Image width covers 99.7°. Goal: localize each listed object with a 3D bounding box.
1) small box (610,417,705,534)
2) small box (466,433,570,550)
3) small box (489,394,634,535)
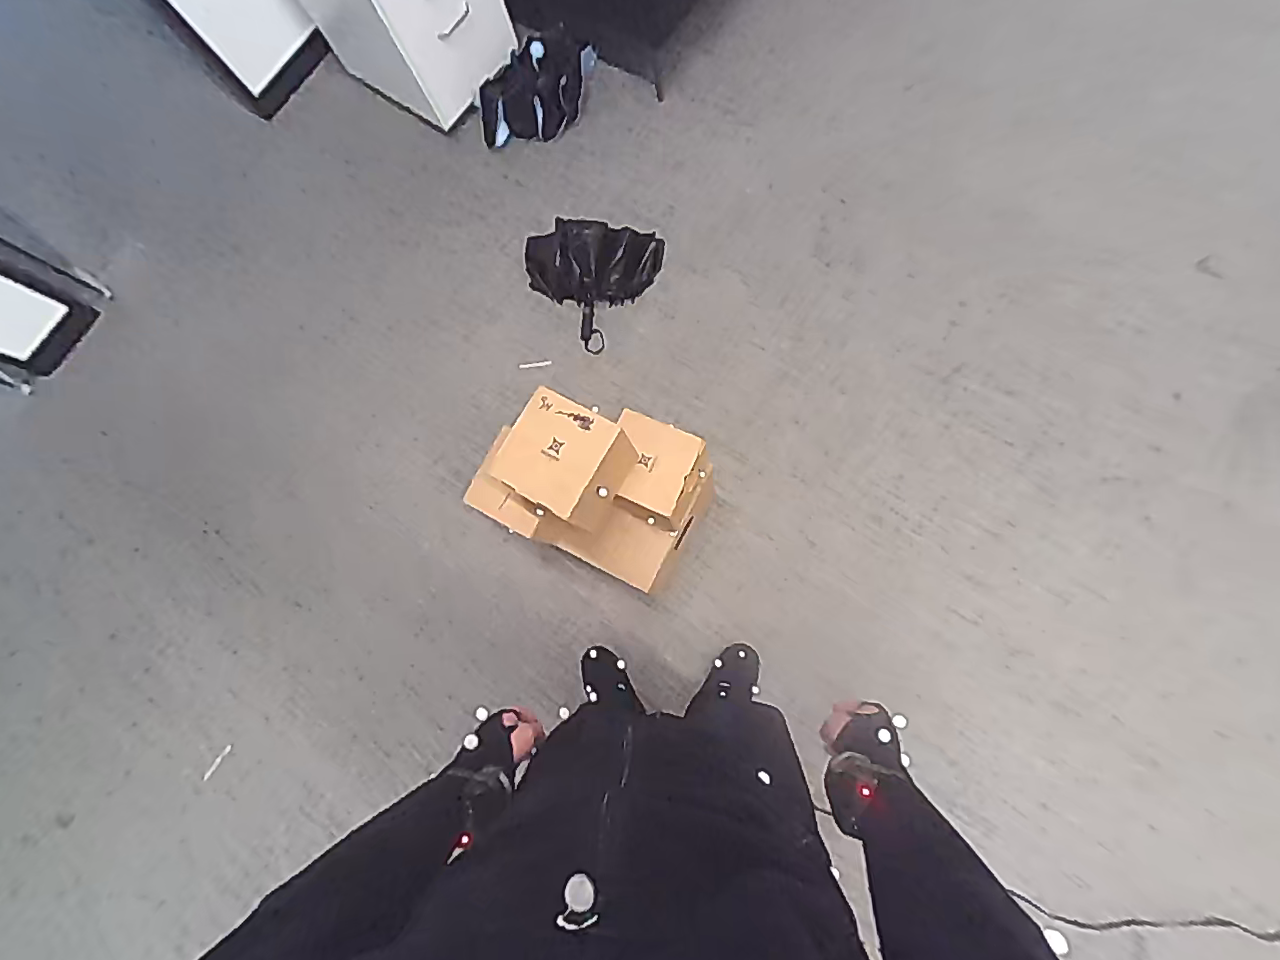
[{"bbox_3d":[0.024,0.000,1.102,0.179,0.176,0.168,22,78,15],"label":"small box"},{"bbox_3d":[-0.223,0.030,1.132,0.168,0.176,0.179,27,84,14],"label":"small box"},{"bbox_3d":[-0.126,-0.018,0.956,0.168,0.176,0.179,28,84,15],"label":"small box"}]
